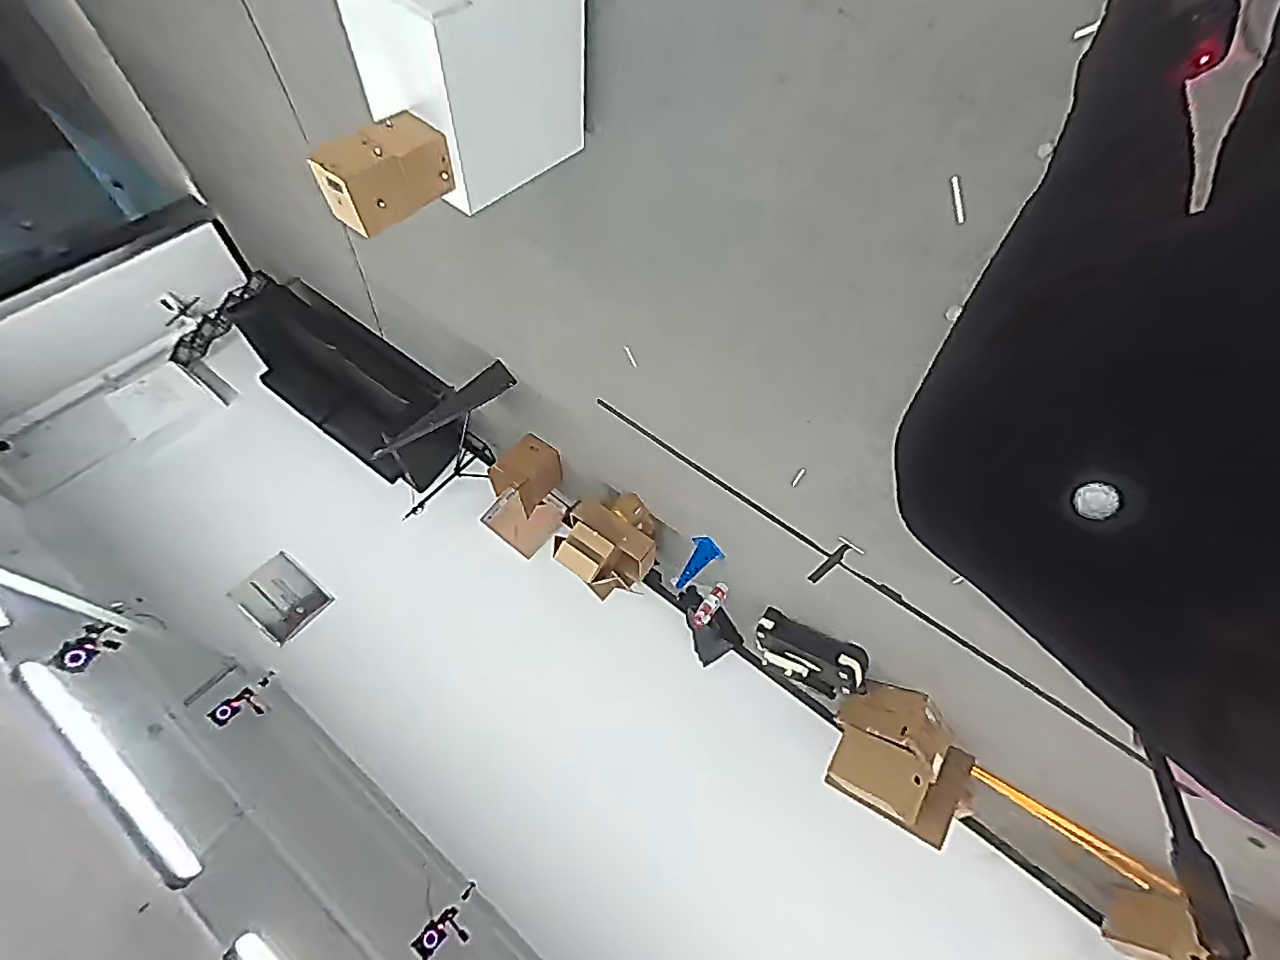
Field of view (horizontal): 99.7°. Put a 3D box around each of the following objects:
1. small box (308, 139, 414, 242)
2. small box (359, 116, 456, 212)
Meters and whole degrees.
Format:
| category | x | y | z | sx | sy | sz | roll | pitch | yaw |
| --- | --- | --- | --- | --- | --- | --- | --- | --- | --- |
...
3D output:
| category | x | y | z | sx | sy | sz | roll | pitch | yaw |
| --- | --- | --- | --- | --- | --- | --- | --- | --- | --- |
| small box | -0.774 | -0.818 | 1.518 | 0.168 | 0.176 | 0.179 | 36 | 155 | 17 |
| small box | -0.673 | -0.929 | 1.584 | 0.179 | 0.176 | 0.168 | 37 | 154 | 13 |
